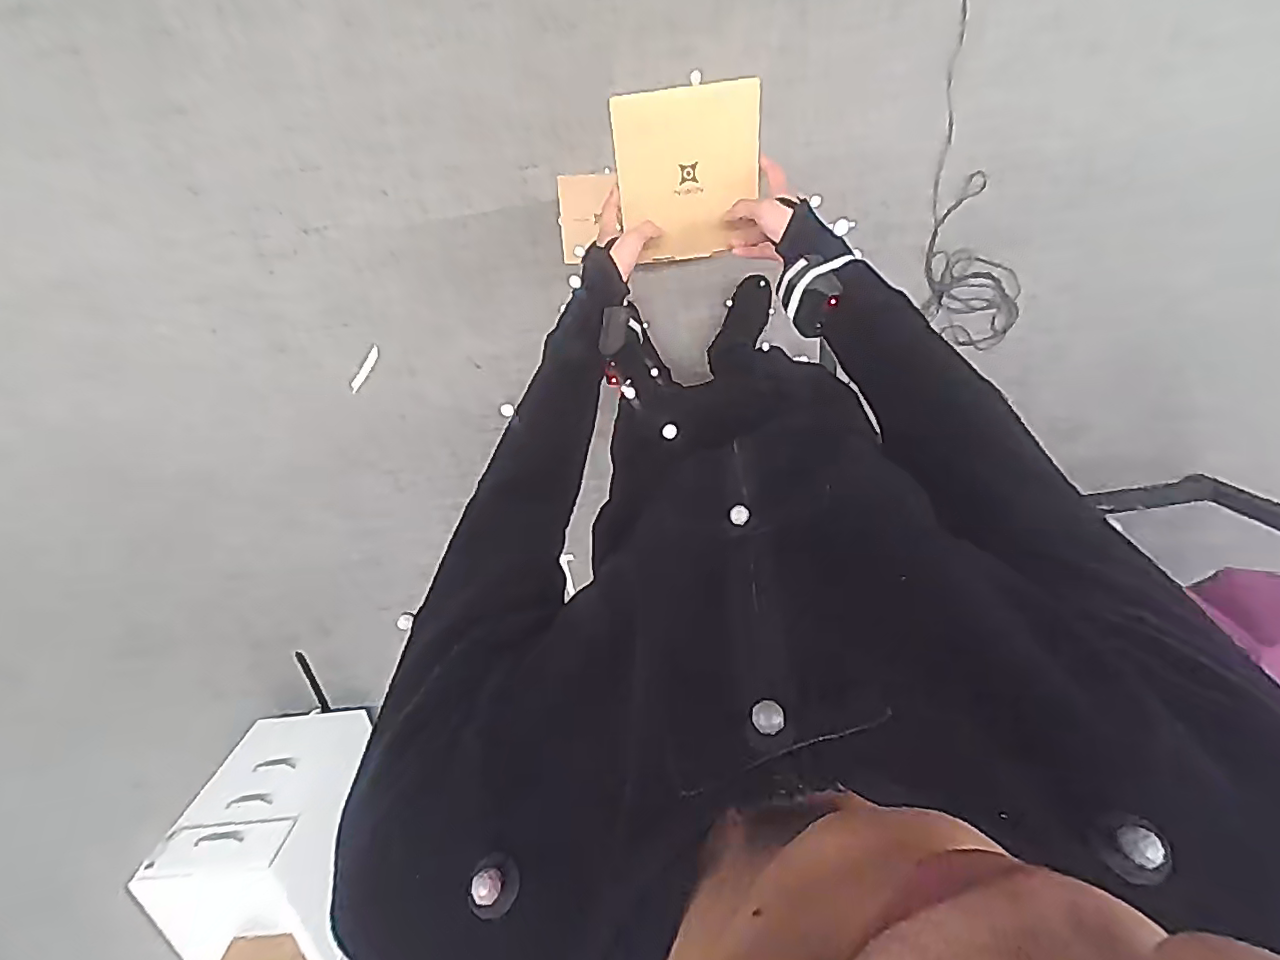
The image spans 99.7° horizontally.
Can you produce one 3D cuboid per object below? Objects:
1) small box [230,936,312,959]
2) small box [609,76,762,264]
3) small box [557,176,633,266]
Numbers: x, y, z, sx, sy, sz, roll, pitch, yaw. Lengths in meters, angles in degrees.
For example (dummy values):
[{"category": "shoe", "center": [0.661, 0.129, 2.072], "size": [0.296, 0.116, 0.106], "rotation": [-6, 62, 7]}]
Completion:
[{"category": "small box", "center": [-1.051, 1.408, 1.498], "size": [0.179, 0.176, 0.168], "rotation": [-5, 113, 1]}, {"category": "small box", "center": [0.053, -0.392, 0.689], "size": [0.168, 0.176, 0.179], "rotation": [-7, 125, 1]}, {"category": "small box", "center": [-0.077, -0.558, 1.174], "size": [0.179, 0.176, 0.168], "rotation": [-2, 112, 1]}]
